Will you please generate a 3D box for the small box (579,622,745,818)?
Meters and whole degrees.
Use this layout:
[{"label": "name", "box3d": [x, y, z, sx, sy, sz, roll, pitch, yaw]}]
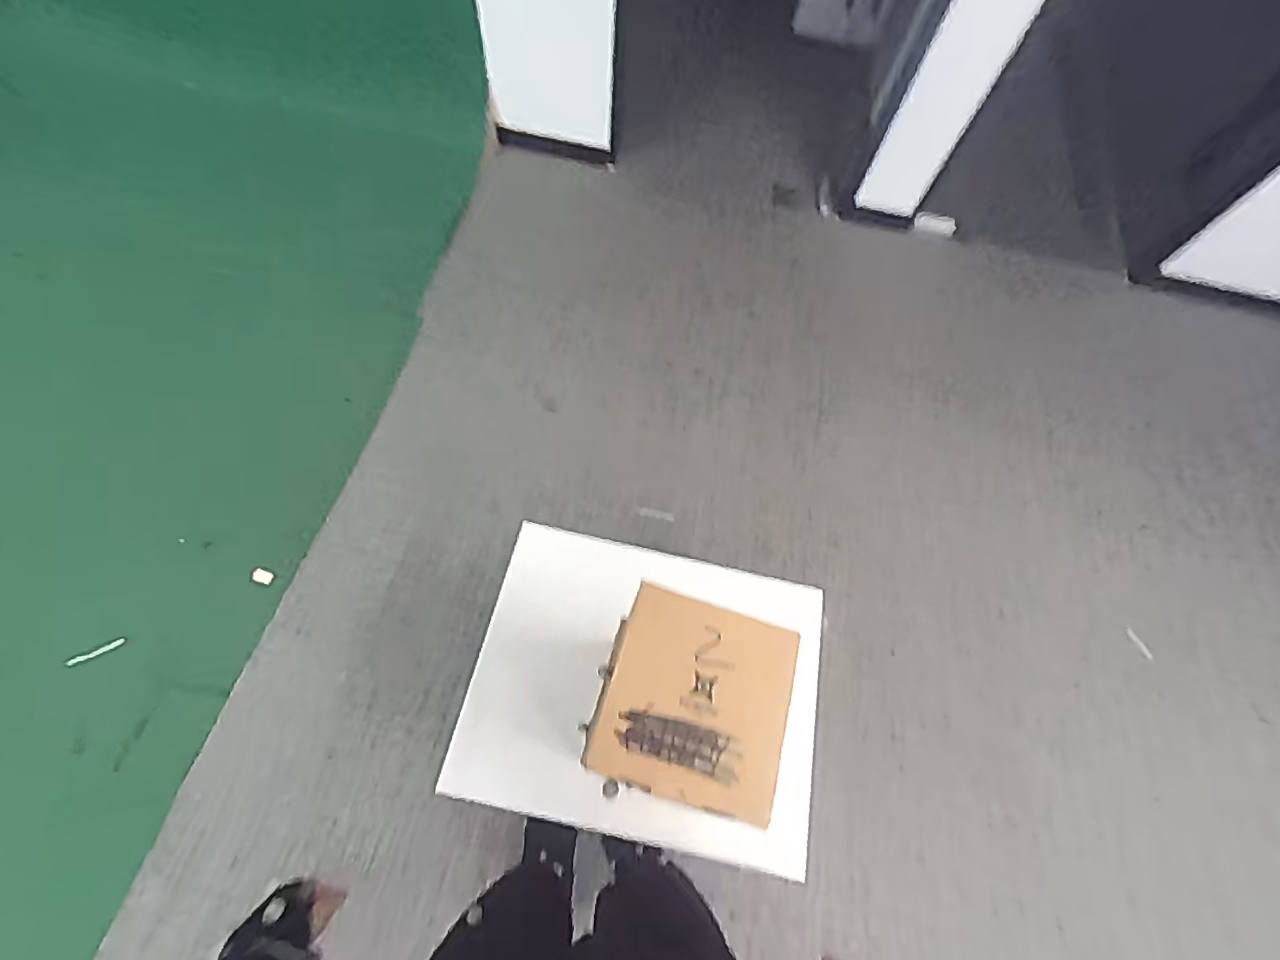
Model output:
[{"label": "small box", "box3d": [0.023, 0.307, 0.697, 0.168, 0.176, 0.179, 16, 63, 2]}]
